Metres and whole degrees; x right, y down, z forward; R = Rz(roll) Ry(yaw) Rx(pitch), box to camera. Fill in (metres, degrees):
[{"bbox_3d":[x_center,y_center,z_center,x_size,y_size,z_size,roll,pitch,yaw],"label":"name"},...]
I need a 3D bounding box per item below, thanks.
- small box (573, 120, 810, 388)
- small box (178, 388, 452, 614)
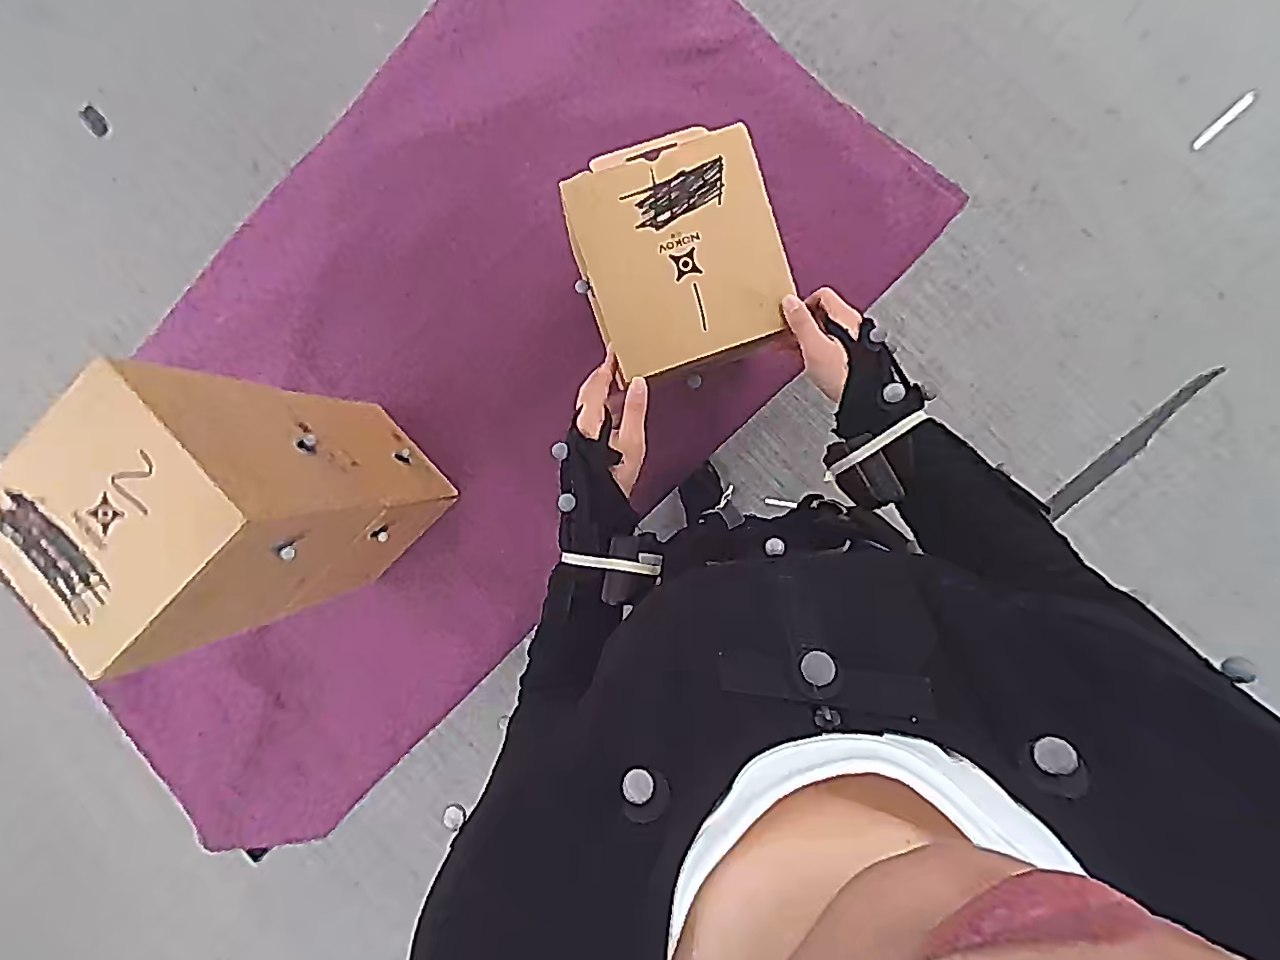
[{"bbox_3d":[0.040,-0.201,0.533,0.168,0.176,0.179,-18,96,-1],"label":"small box"},{"bbox_3d":[-0.358,0.021,0.629,0.179,0.176,0.168,-44,87,6],"label":"small box"}]
